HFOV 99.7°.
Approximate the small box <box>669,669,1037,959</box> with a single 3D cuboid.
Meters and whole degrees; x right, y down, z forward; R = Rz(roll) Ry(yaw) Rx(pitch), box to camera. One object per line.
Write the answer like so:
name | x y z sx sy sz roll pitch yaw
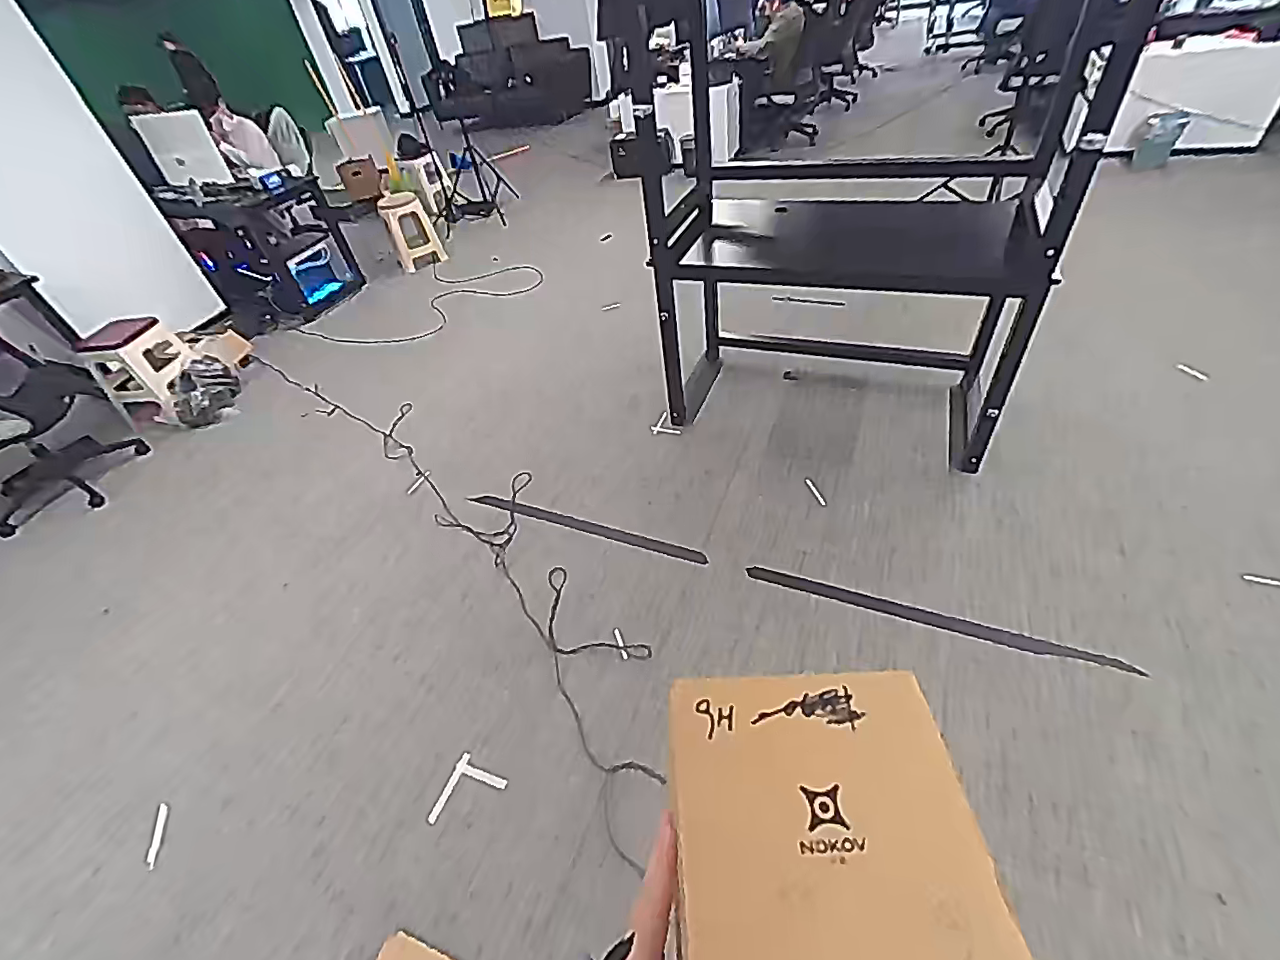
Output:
small box | 0.106 0.244 0.351 0.168 0.176 0.179 -2 46 -1
